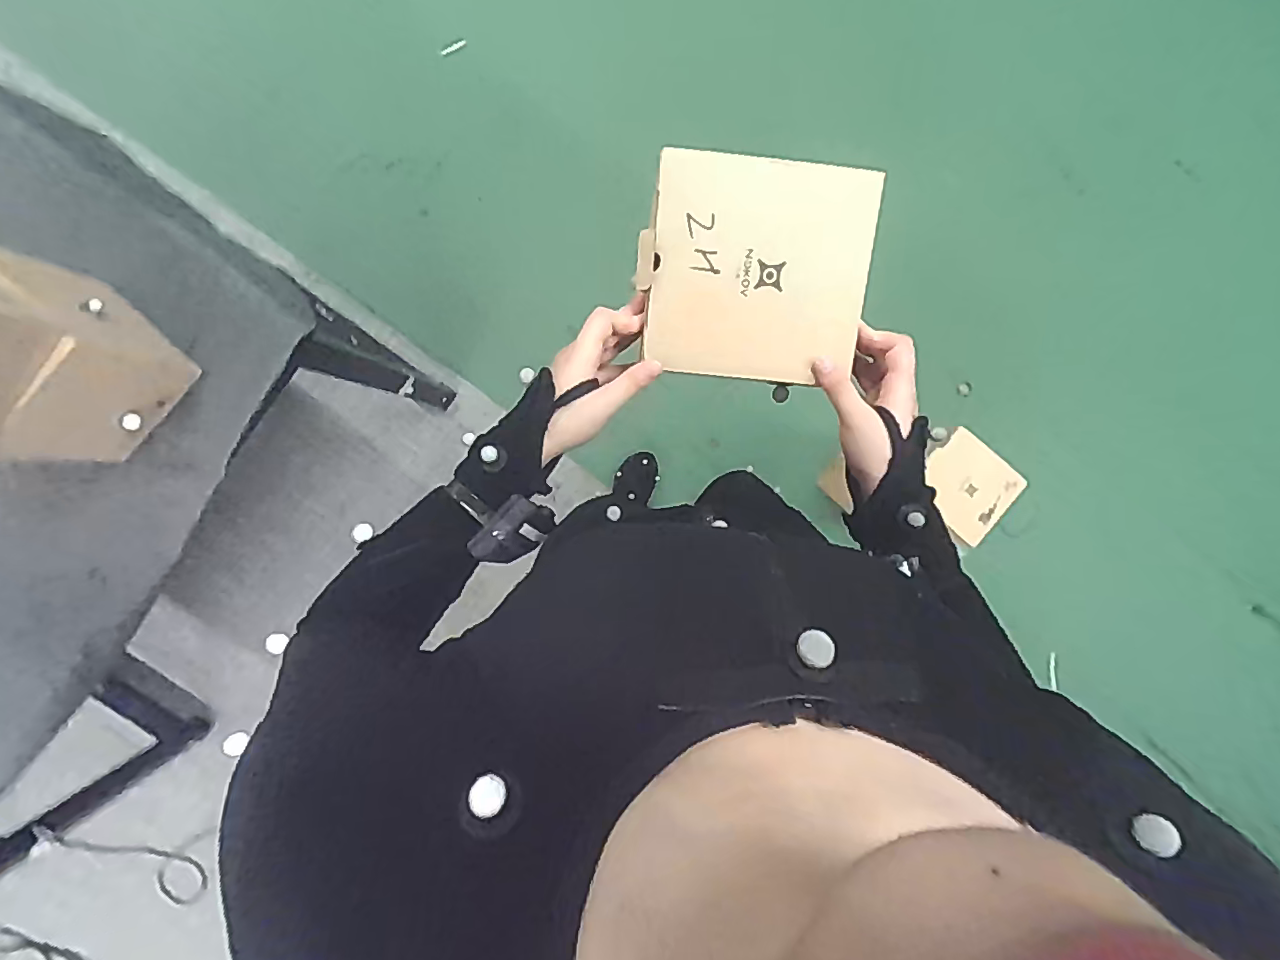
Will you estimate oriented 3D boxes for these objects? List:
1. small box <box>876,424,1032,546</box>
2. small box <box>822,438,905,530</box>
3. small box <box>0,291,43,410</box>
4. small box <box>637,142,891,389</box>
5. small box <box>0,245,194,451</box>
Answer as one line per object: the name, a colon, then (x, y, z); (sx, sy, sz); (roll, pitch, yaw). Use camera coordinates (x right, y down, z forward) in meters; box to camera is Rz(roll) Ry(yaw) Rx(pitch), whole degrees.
small box: (0.619, 0.010, 1.091); (0.179, 0.176, 0.168); (40, 90, -2)
small box: (0.616, 0.004, 1.420); (0.179, 0.176, 0.168); (41, 91, -3)
small box: (-0.703, -0.132, 0.469); (0.168, 0.176, 0.179); (35, 92, 1)
small box: (0.092, -0.177, 0.492); (0.179, 0.176, 0.168); (5, 101, -2)
small box: (-0.697, -0.144, 0.631); (0.179, 0.176, 0.168); (43, 91, -1)
